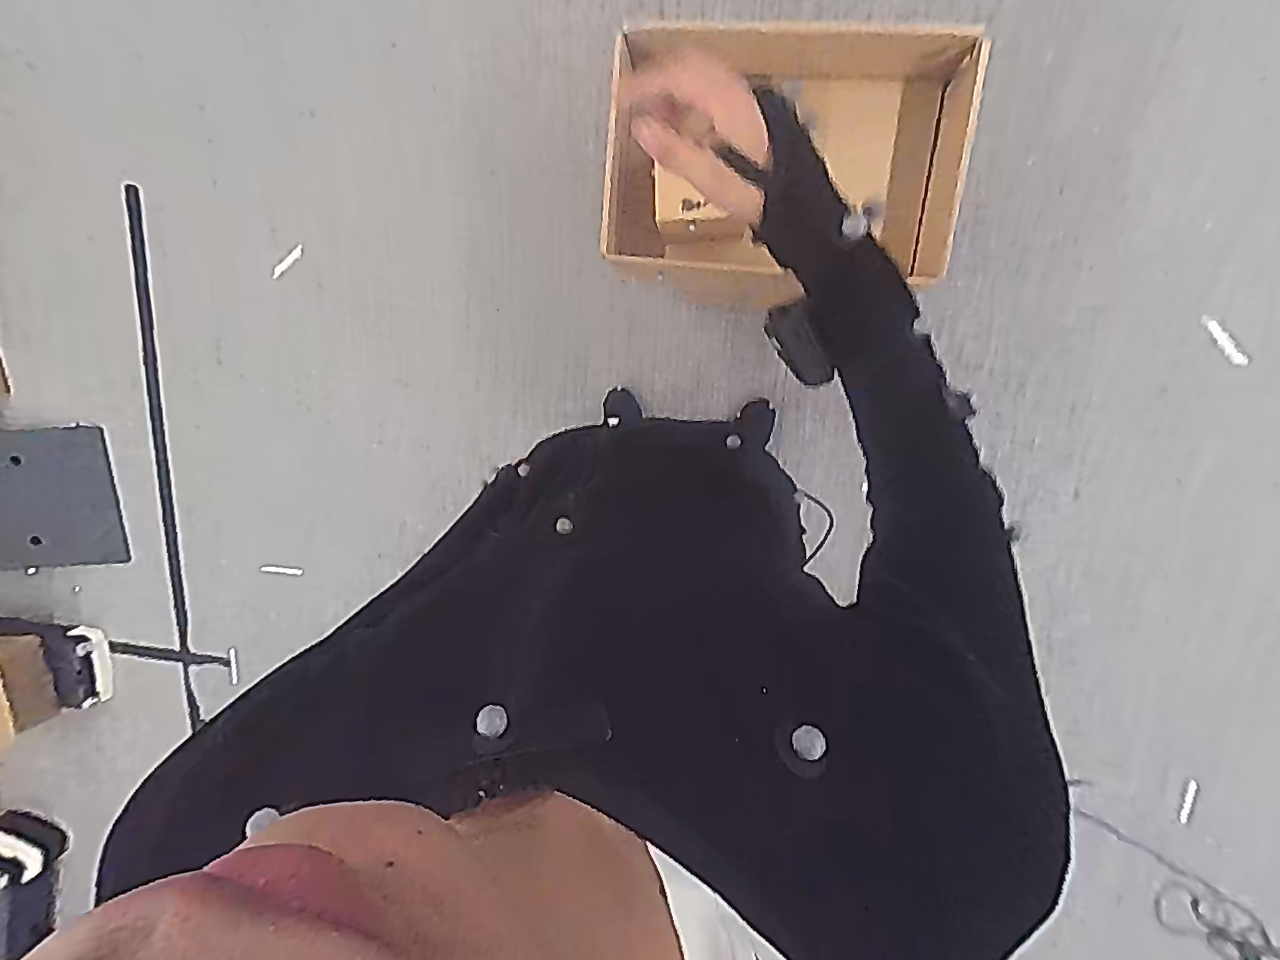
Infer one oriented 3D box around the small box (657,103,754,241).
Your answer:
[{"bbox_3d":[0.120,-0.561,1.006,0.168,0.176,0.179,1,100,8],"label":"small box"}]
